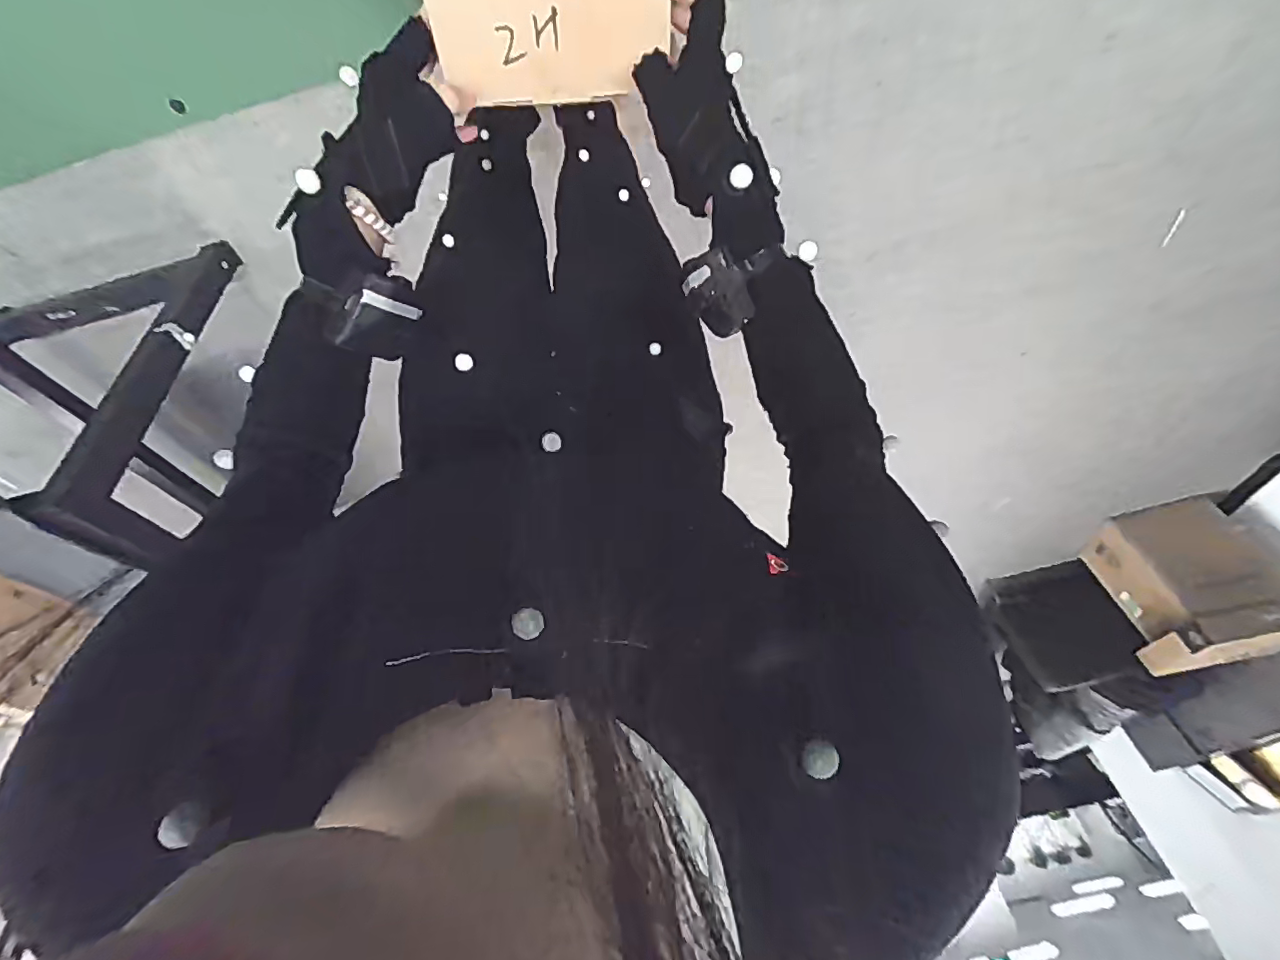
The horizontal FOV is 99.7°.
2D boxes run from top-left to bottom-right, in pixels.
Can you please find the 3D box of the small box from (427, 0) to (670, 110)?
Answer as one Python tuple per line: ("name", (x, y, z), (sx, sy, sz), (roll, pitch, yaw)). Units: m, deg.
("small box", (-0.069, -0.399, 0.394), (0.168, 0.176, 0.179), (-5, 140, -2))
